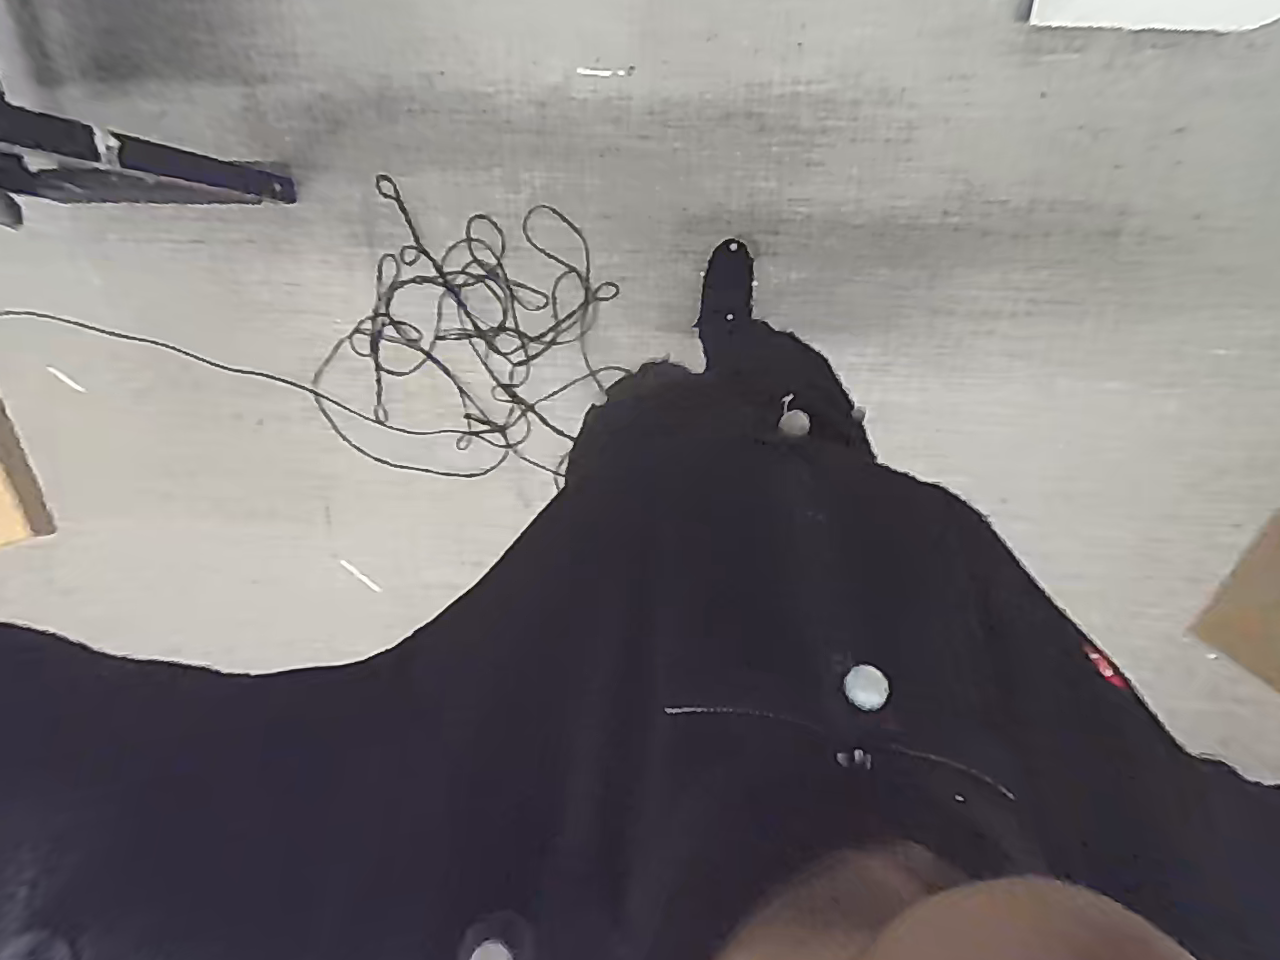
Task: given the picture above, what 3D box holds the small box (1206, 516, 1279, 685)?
[{"bbox_3d":[0.690,0.135,0.494,0.176,0.179,0.168,28,107,24],"label":"small box"}]
